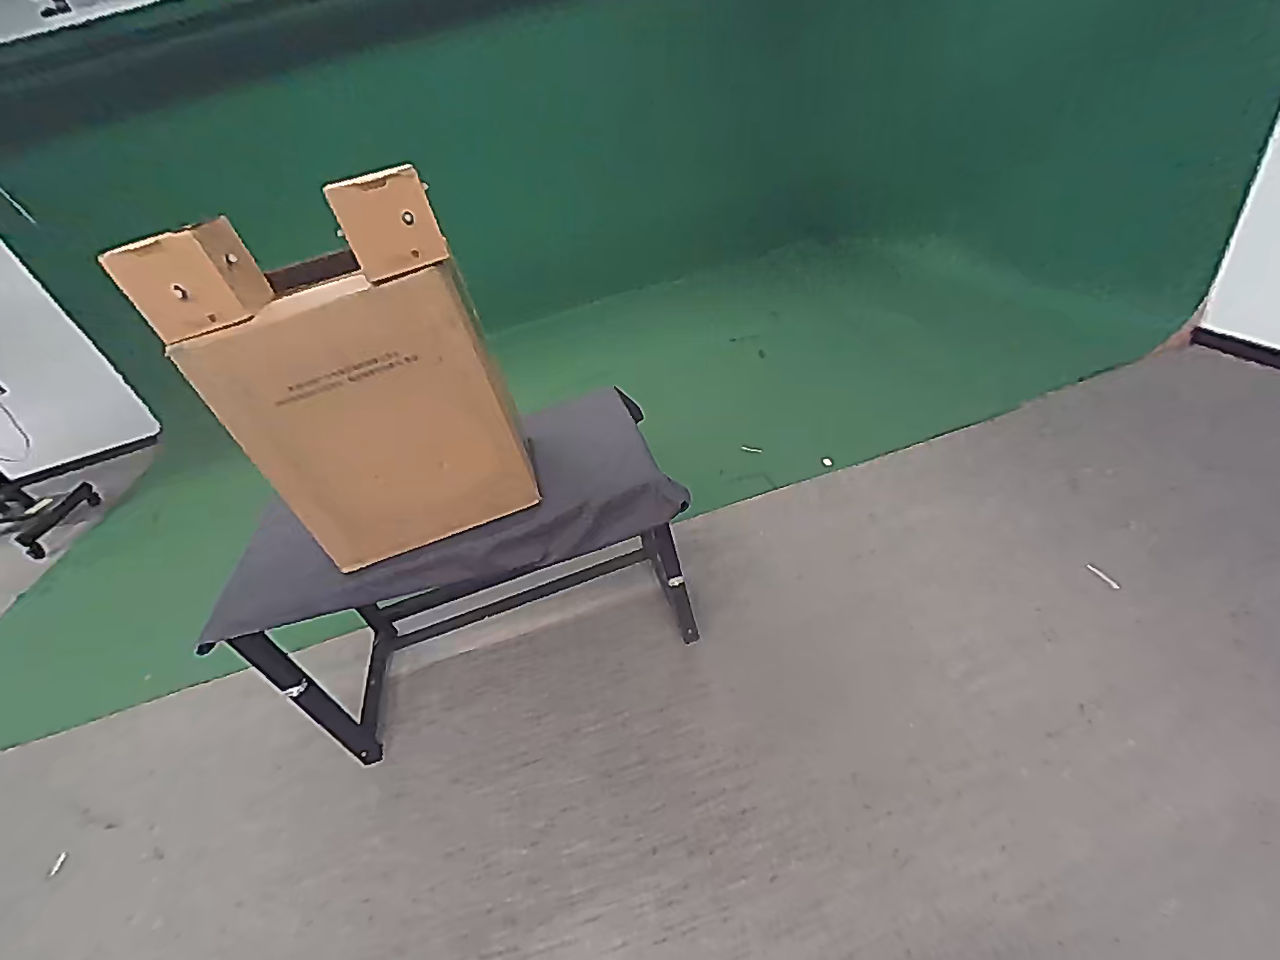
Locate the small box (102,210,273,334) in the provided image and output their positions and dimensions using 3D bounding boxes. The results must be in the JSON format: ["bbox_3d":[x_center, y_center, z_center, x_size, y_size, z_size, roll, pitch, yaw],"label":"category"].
[{"bbox_3d":[-0.864,-0.403,1.058,0.168,0.176,0.179,-19,37,-5],"label":"small box"}]

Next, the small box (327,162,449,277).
[{"bbox_3d":[-0.498,-0.521,1.084,0.168,0.176,0.179,-22,36,-13],"label":"small box"}]
